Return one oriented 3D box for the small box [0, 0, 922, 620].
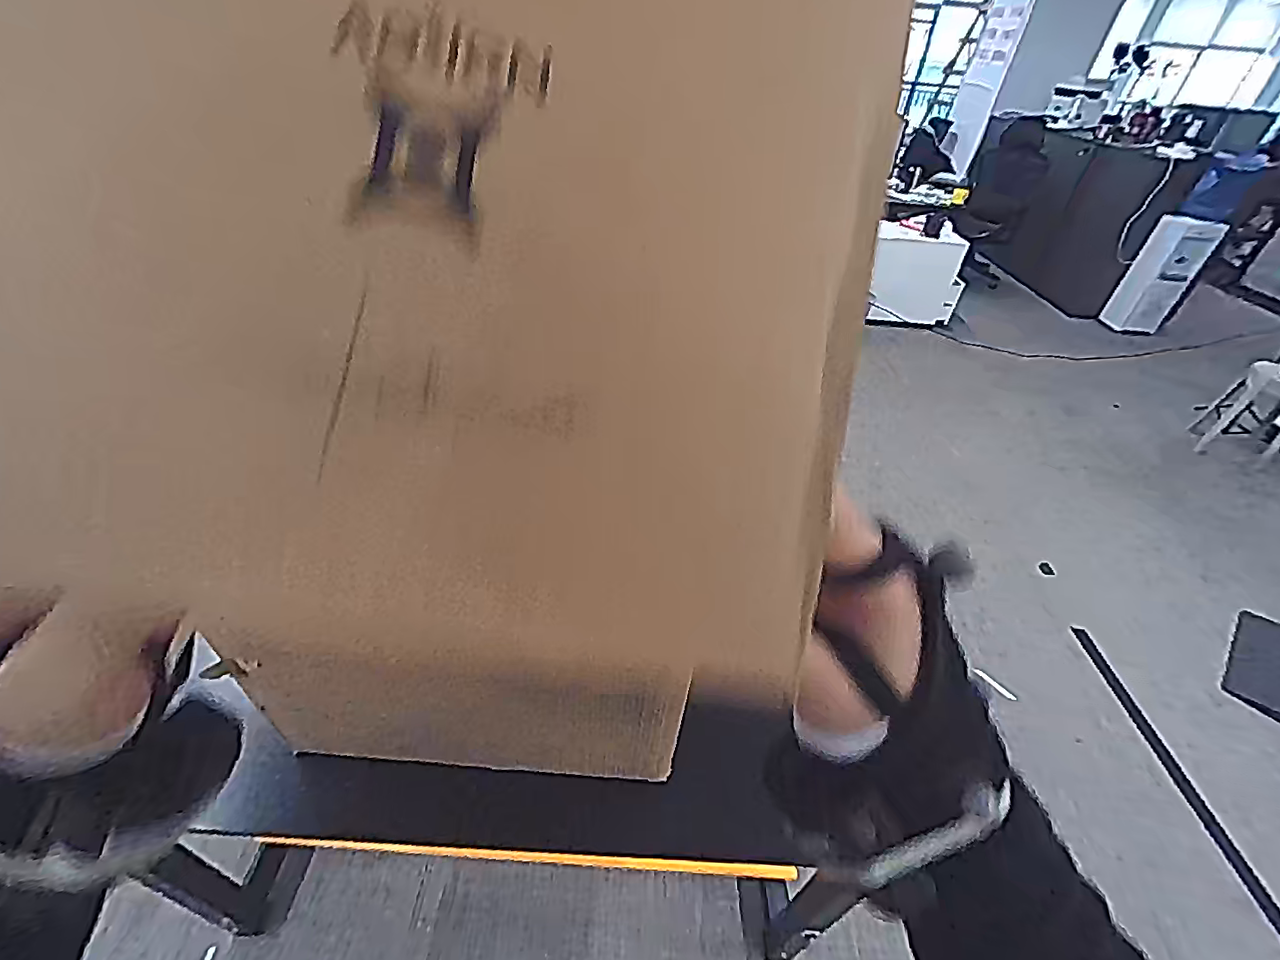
[{"bbox_3d":[-0.039,-0.069,0.176,0.168,0.179,0.176,8,-1,-5],"label":"small box"}]
